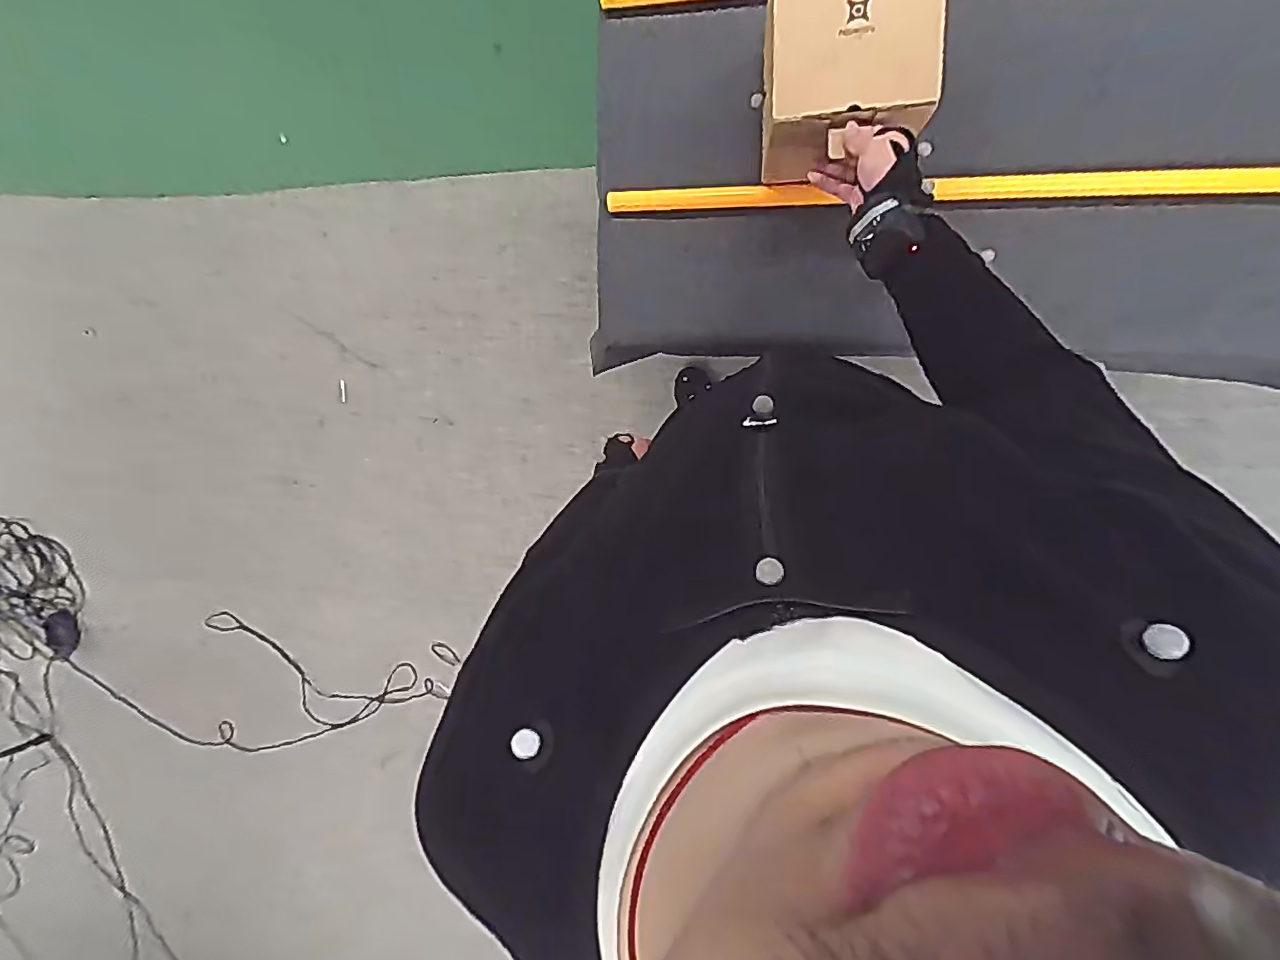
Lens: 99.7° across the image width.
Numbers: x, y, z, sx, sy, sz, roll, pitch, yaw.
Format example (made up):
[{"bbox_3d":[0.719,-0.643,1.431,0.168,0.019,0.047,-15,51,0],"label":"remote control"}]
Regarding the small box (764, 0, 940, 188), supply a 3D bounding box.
[{"bbox_3d":[0.234,-0.464,0.632,0.168,0.176,0.179,-2,96,11],"label":"small box"}]
